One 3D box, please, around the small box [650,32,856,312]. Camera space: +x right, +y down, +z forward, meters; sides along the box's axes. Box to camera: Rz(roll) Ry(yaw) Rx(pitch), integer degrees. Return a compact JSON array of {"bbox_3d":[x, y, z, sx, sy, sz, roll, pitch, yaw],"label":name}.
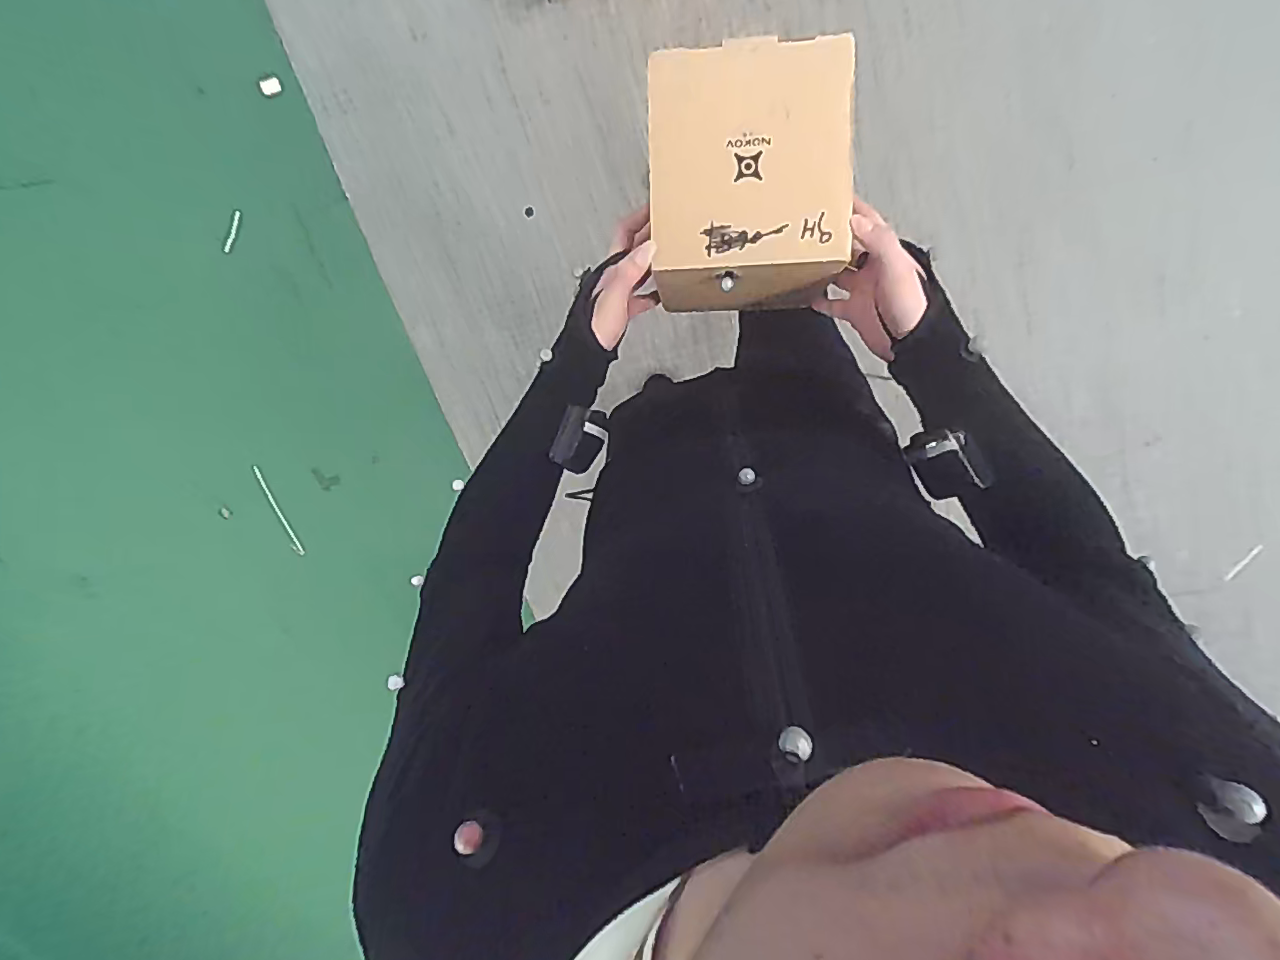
[{"bbox_3d":[0.098,-0.271,0.517,0.168,0.176,0.179,0,94,7],"label":"small box"}]
